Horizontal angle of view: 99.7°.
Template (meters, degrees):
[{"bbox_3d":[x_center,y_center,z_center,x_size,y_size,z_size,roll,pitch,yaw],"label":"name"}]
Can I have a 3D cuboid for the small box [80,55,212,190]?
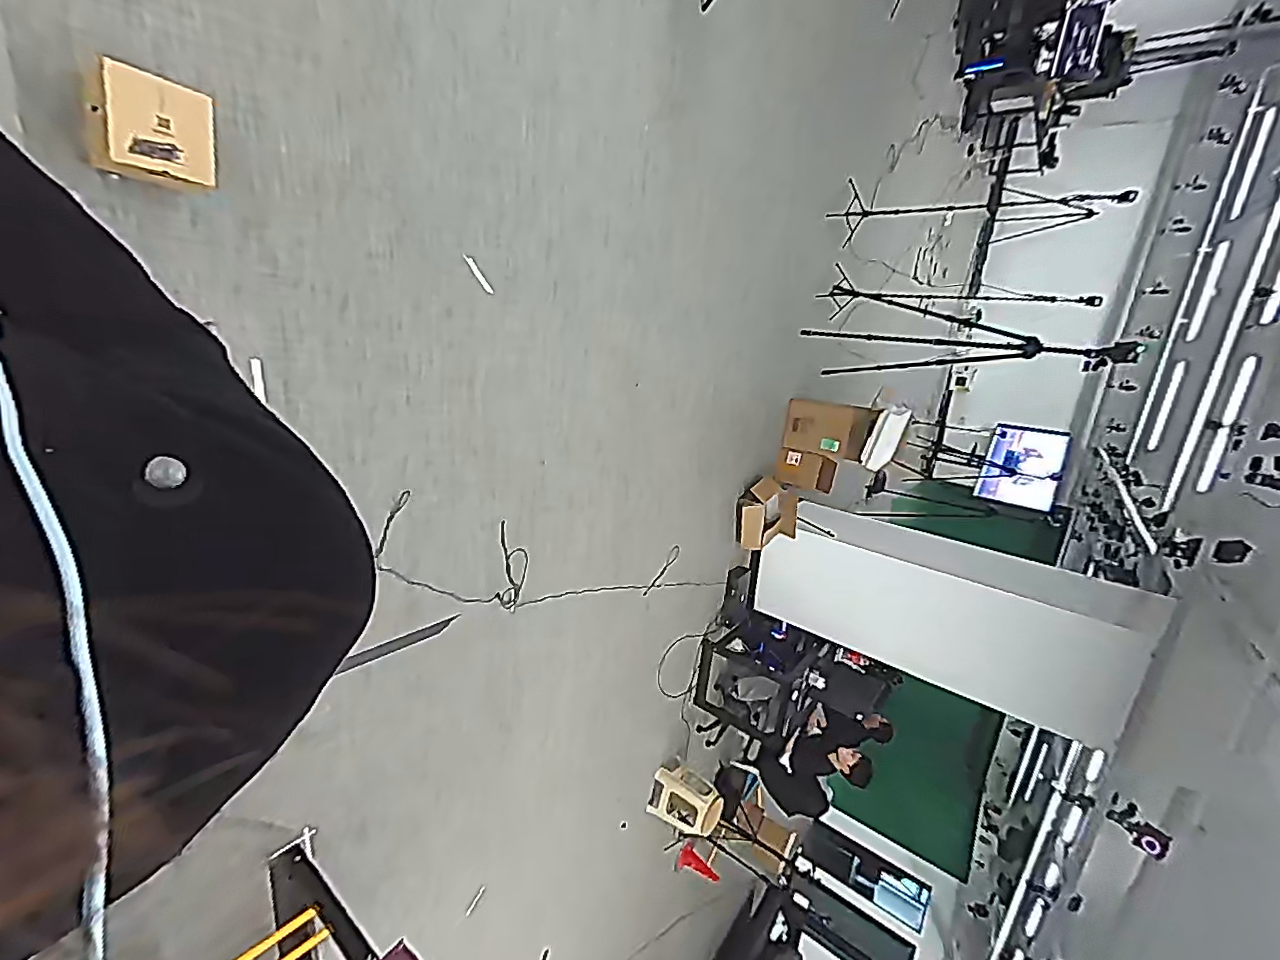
[{"bbox_3d":[-1.002,-0.709,1.100,0.168,0.176,0.179,-11,111,-53],"label":"small box"}]
